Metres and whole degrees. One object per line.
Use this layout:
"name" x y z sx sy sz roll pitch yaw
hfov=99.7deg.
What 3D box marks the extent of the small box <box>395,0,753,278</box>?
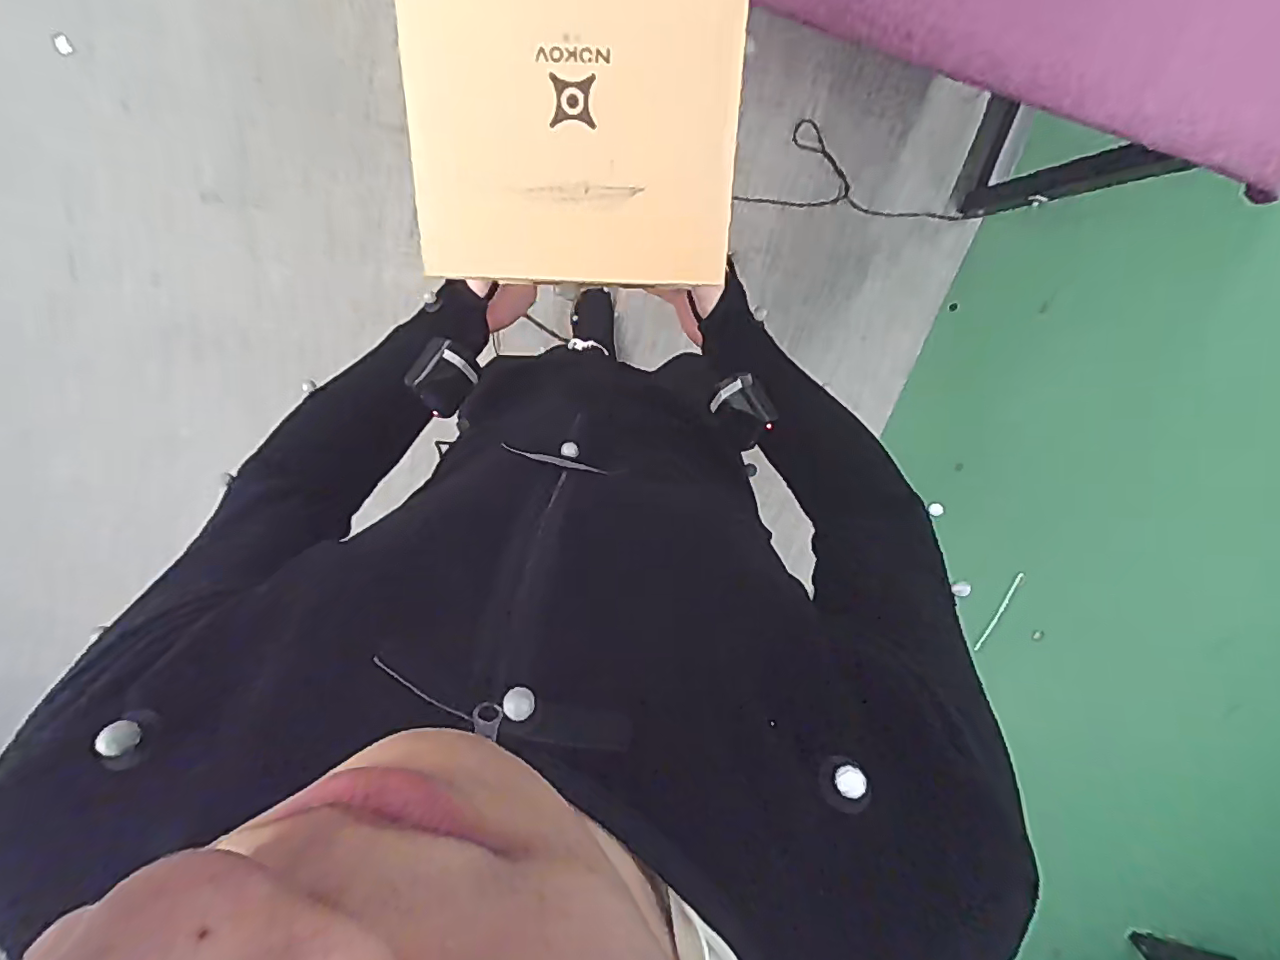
"small box" -0.031 -0.222 0.331 0.168 0.176 0.179 3 112 0
